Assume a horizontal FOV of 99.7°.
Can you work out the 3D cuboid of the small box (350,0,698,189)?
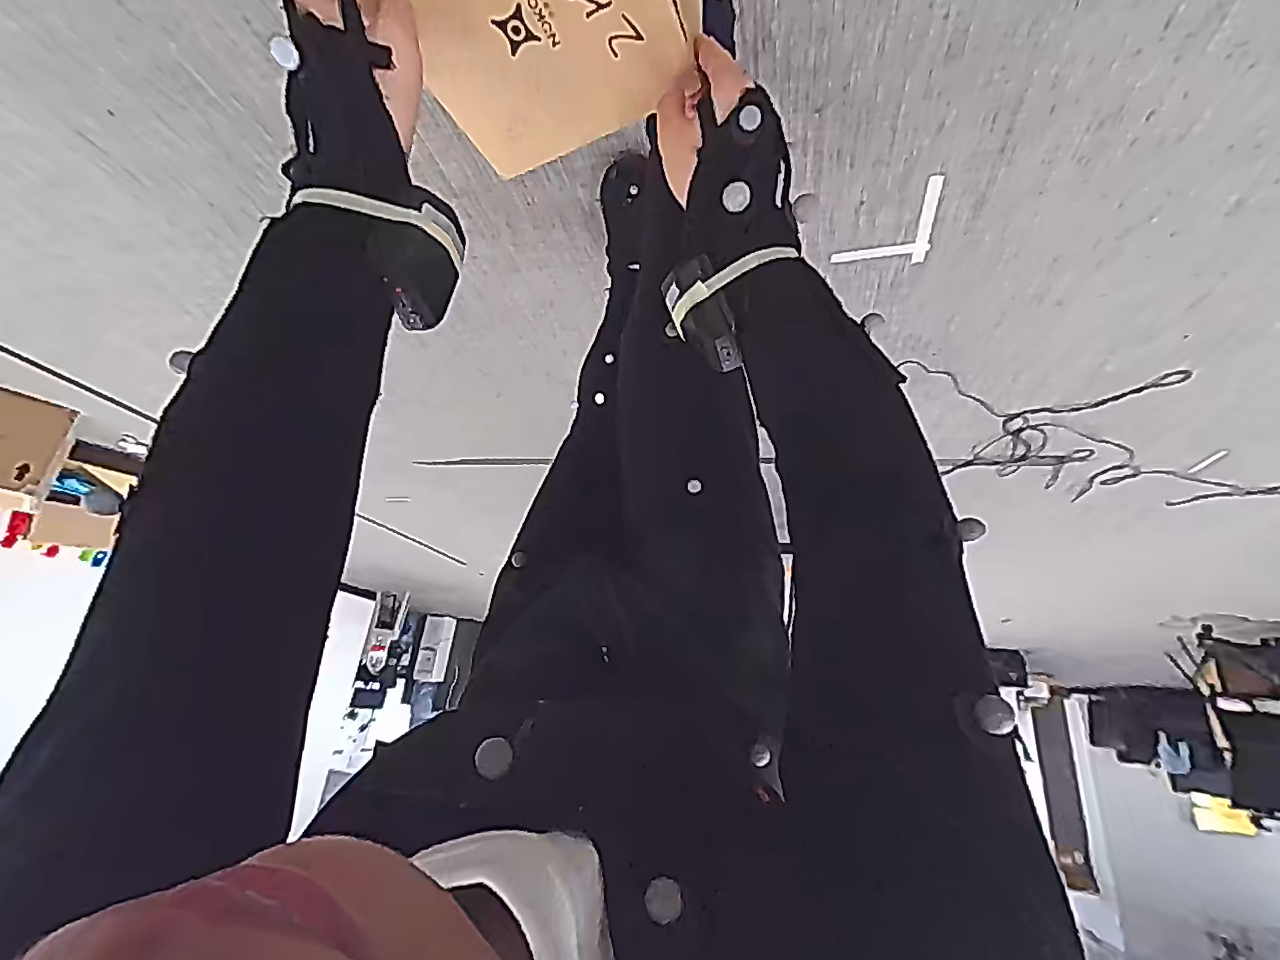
[{"bbox_3d":[-0.066,-0.350,0.369,0.179,0.176,0.168,-9,157,24],"label":"small box"}]
